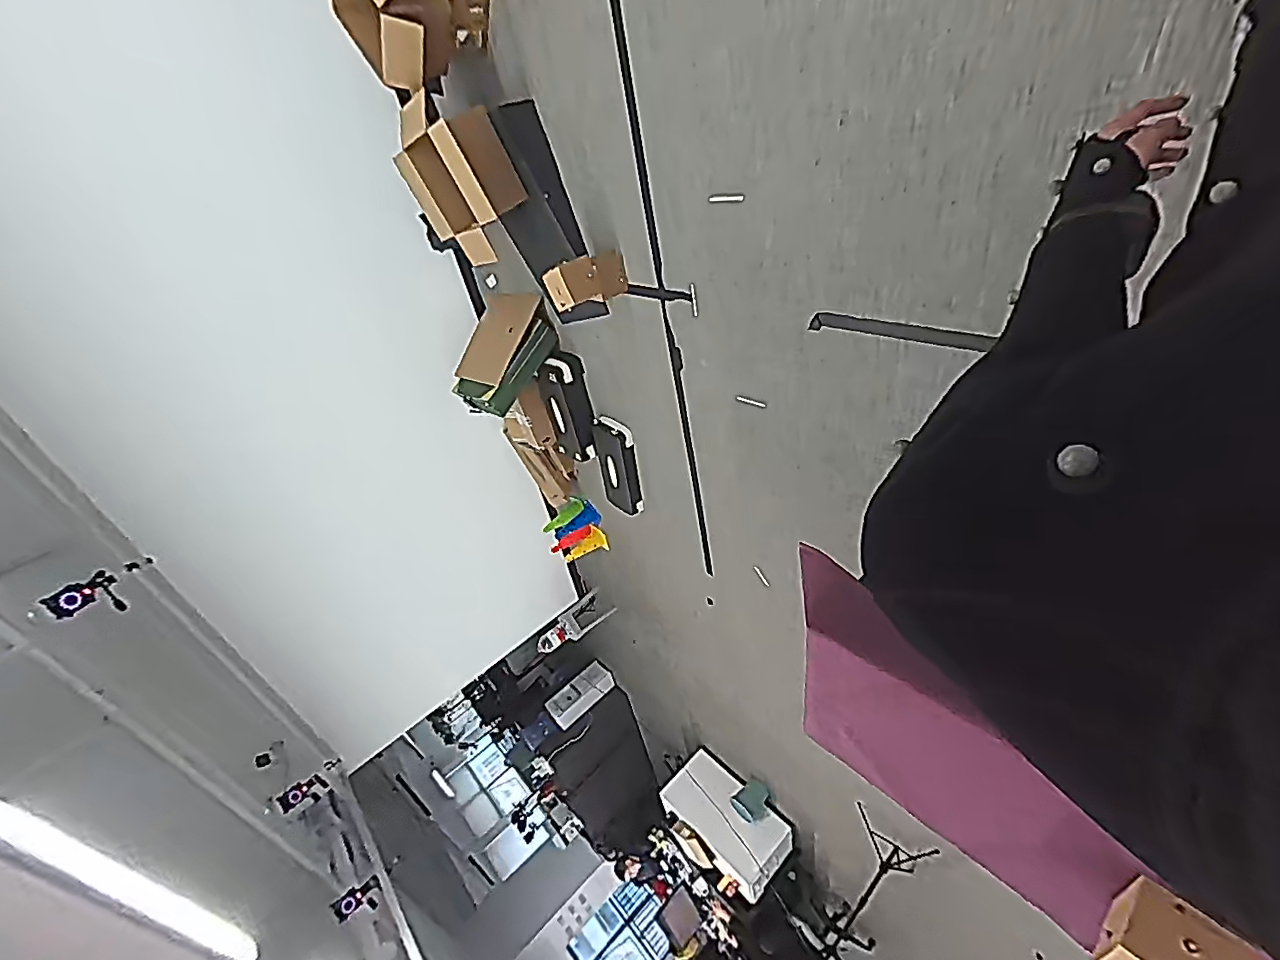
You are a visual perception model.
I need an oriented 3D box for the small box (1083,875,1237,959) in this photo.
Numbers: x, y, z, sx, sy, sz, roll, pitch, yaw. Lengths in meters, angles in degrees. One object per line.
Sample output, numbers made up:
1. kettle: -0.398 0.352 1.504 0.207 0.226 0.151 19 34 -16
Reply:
1. small box: 1.045 0.950 1.089 0.168 0.176 0.179 29 142 40
